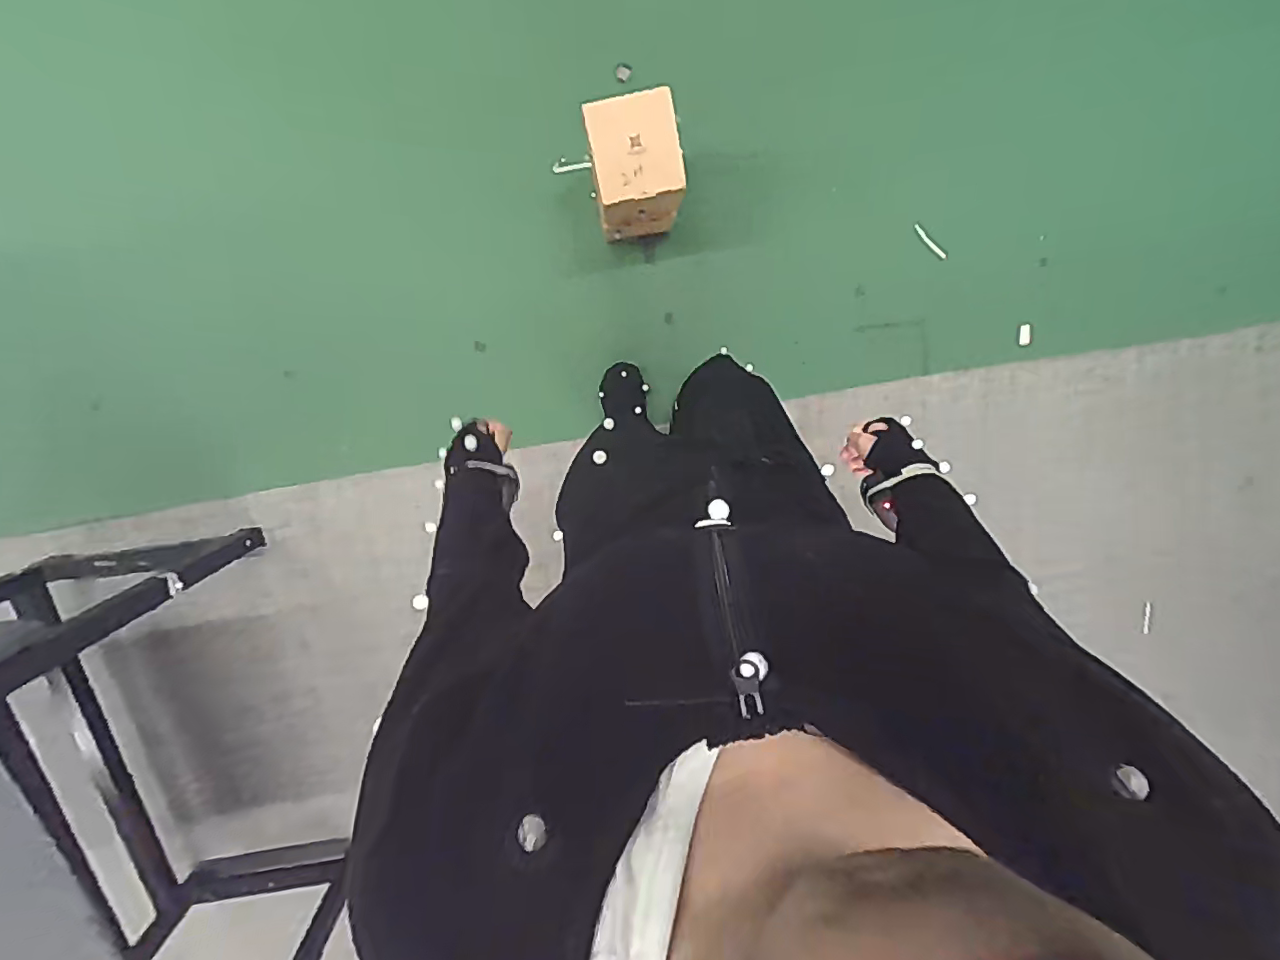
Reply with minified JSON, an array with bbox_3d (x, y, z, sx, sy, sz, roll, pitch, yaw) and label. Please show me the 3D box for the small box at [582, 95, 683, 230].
[{"bbox_3d":[-0.017,-0.630,1.092,0.168,0.176,0.179,-12,104,1],"label":"small box"}]
